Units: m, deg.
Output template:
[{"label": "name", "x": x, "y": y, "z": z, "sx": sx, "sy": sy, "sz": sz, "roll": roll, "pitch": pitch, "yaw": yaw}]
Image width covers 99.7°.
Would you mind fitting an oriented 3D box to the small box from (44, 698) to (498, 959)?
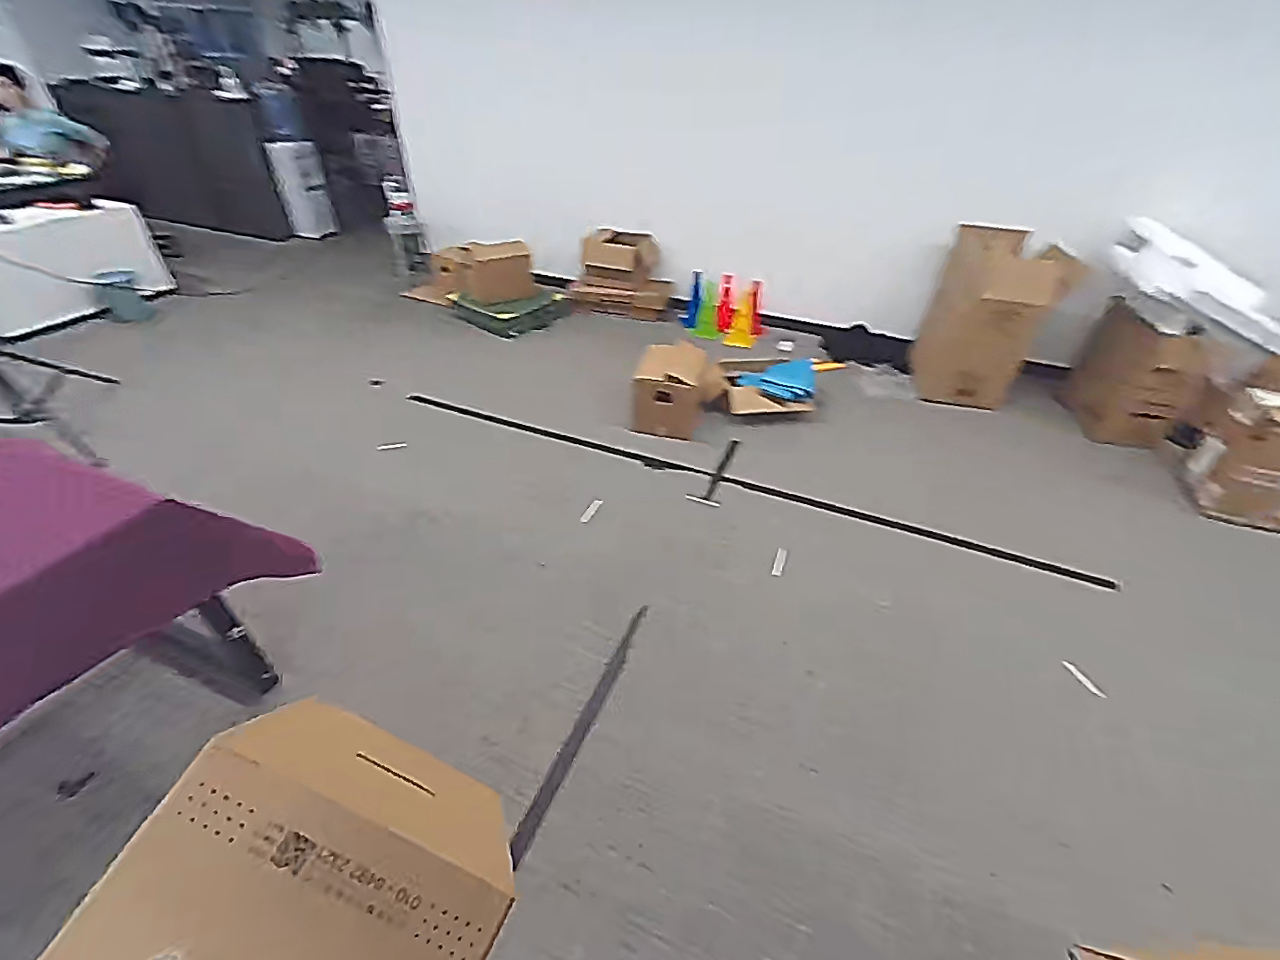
[{"label": "small box", "x": -0.198, "y": 0.248, "z": 0.313, "sx": 0.168, "sy": 0.179, "sz": 0.176, "roll": 33, "pitch": 70, "yaw": -6}]
